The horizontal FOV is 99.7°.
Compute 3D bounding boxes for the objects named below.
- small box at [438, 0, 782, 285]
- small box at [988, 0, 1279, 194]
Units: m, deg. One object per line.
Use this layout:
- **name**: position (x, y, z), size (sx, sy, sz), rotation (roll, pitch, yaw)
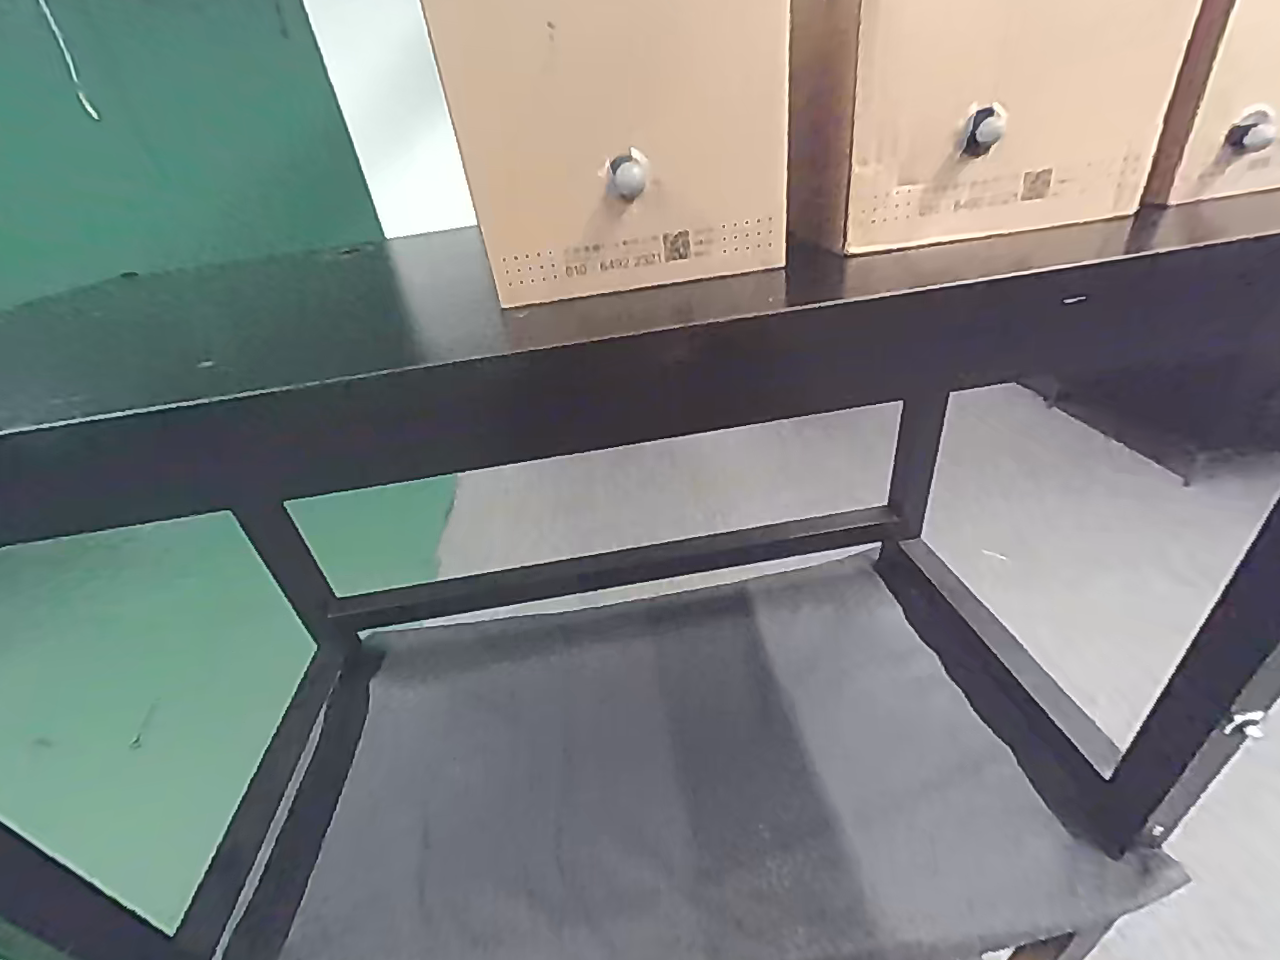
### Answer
- **small box**: position (-0.015, -0.230, 0.342), size (0.168, 0.176, 0.179), rotation (-8, 31, 1)
- **small box**: position (0.363, -0.287, 0.344), size (0.168, 0.176, 0.179), rotation (-8, 30, 1)
